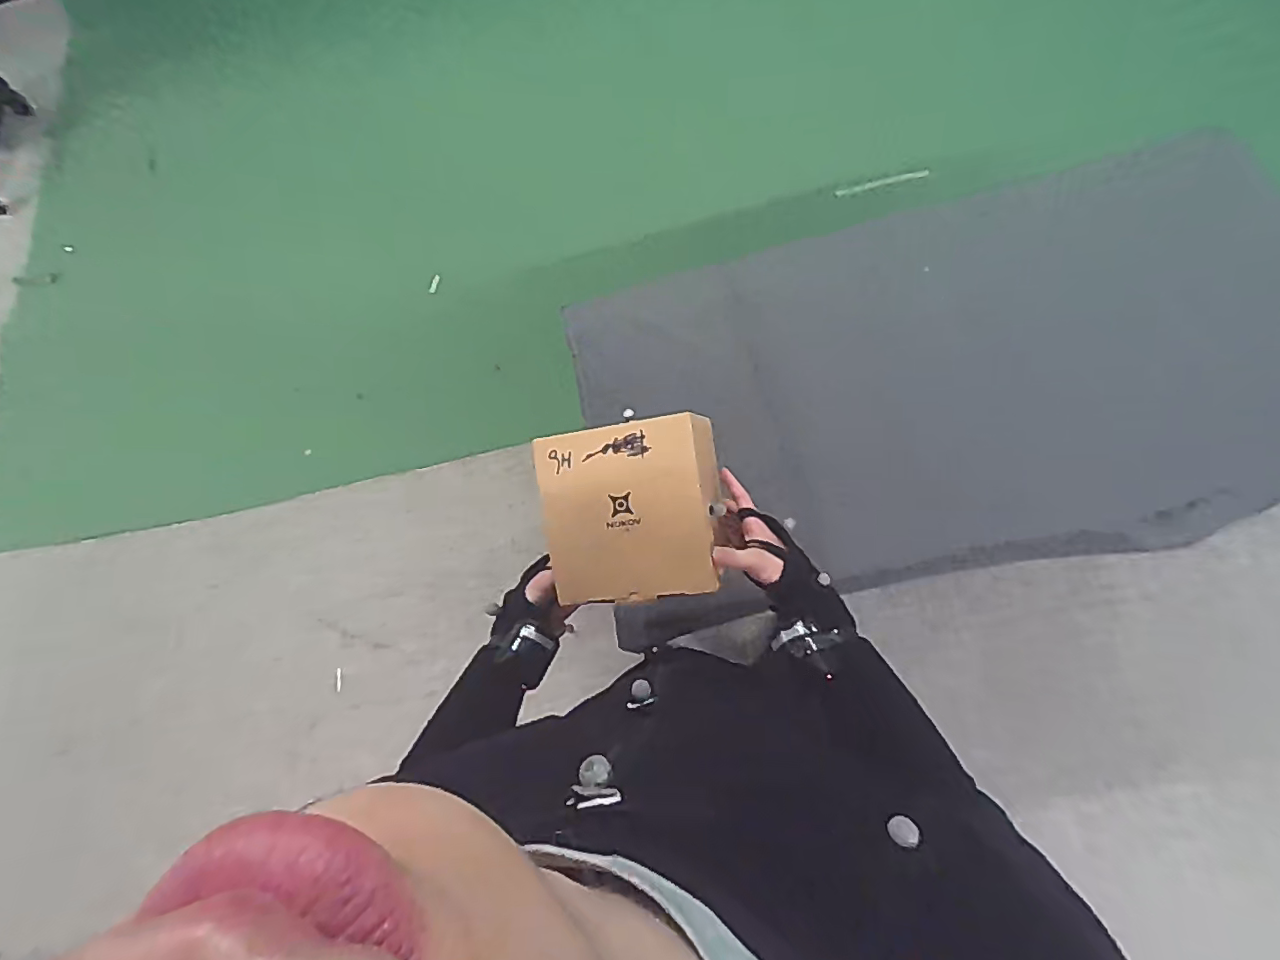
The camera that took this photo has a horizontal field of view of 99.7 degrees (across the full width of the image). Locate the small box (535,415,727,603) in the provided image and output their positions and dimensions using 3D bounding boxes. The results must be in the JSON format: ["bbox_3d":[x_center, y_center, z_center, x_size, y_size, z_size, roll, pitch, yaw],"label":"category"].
[{"bbox_3d":[0.003,0.024,0.606,0.168,0.176,0.179,-7,93,13],"label":"small box"}]
